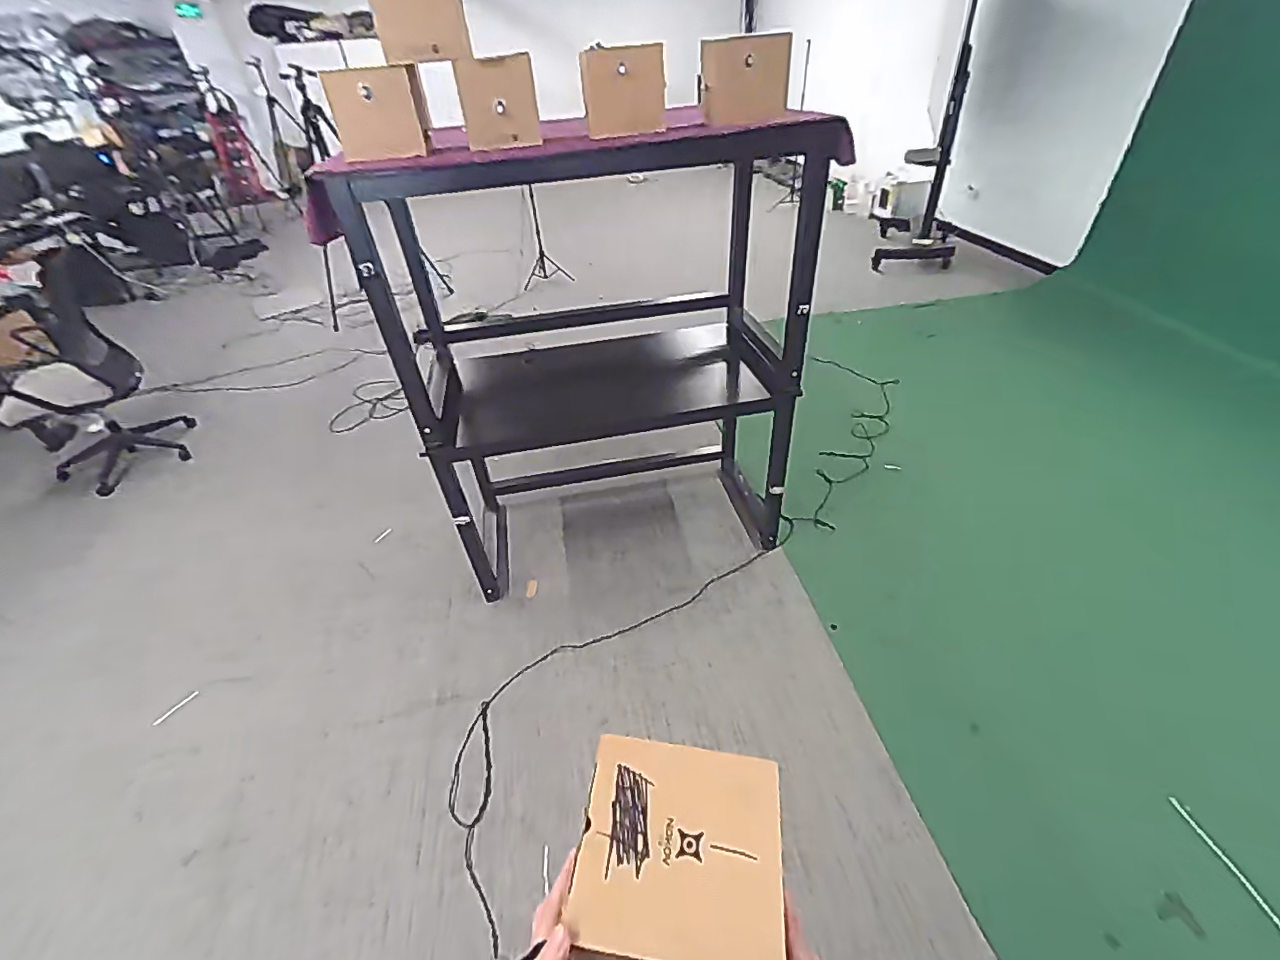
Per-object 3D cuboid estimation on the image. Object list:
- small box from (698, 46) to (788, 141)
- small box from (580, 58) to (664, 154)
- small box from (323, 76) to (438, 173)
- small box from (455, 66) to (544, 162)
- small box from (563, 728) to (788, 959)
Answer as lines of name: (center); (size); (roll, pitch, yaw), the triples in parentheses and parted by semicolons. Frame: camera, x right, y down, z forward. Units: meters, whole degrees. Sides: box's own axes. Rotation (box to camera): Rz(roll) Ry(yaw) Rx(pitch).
small box: (0.242, -0.930, 1.305); (0.179, 0.176, 0.168); (-7, 39, -3)
small box: (-0.041, -0.887, 1.281); (0.179, 0.176, 0.168); (-10, 37, -5)
small box: (-0.575, -0.803, 1.222); (0.179, 0.176, 0.168); (-9, 39, -8)
small box: (-0.318, -0.843, 1.250); (0.168, 0.176, 0.179); (-9, 38, -7)
small box: (0.036, 0.369, 0.520); (0.179, 0.176, 0.168); (6, 39, 6)
